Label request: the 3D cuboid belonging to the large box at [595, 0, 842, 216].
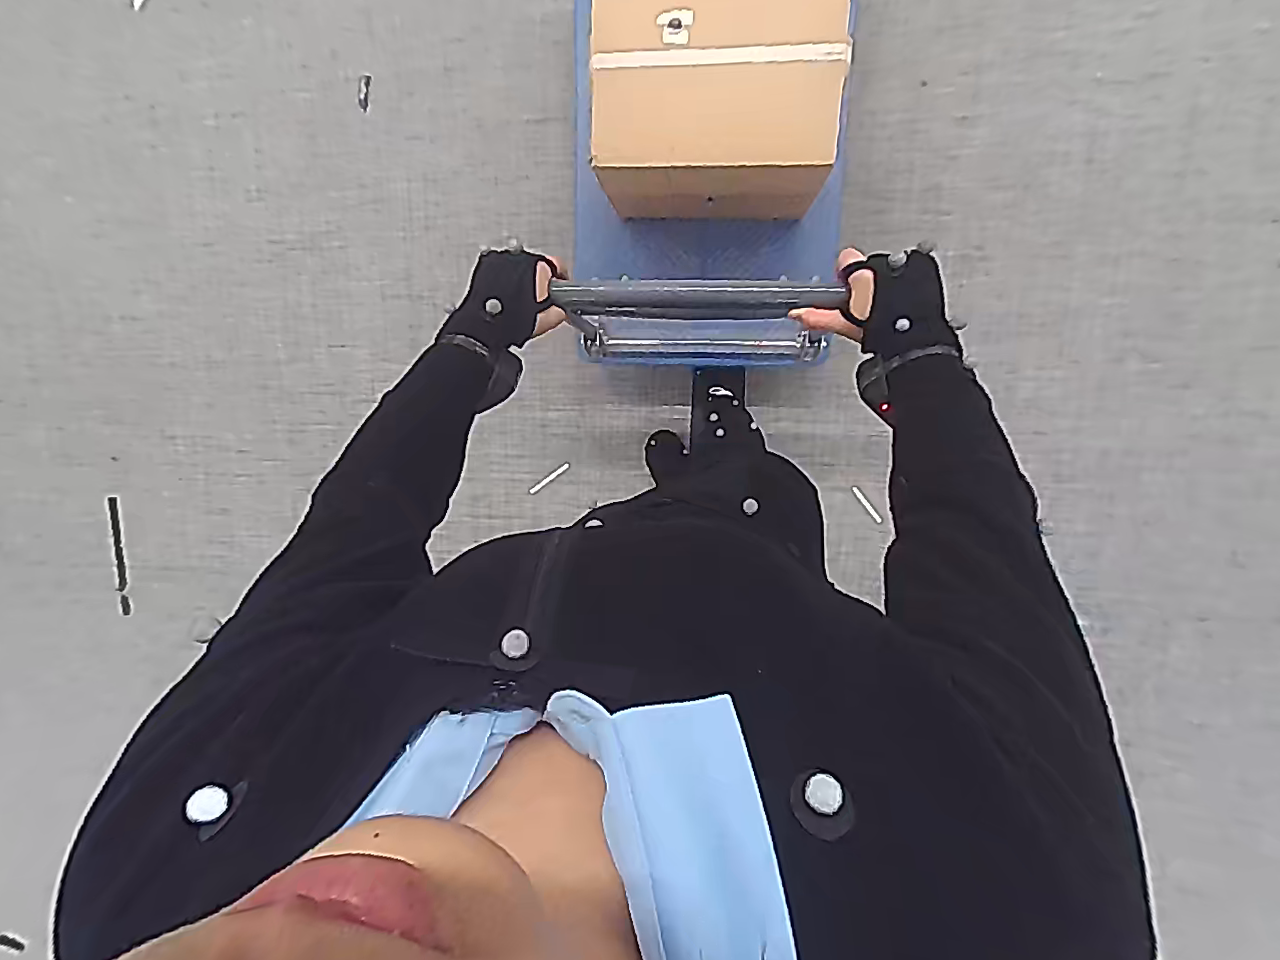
[{"bbox_3d":[0.142,-0.710,1.031,0.408,0.320,0.320,3,100,8],"label":"large box"}]
